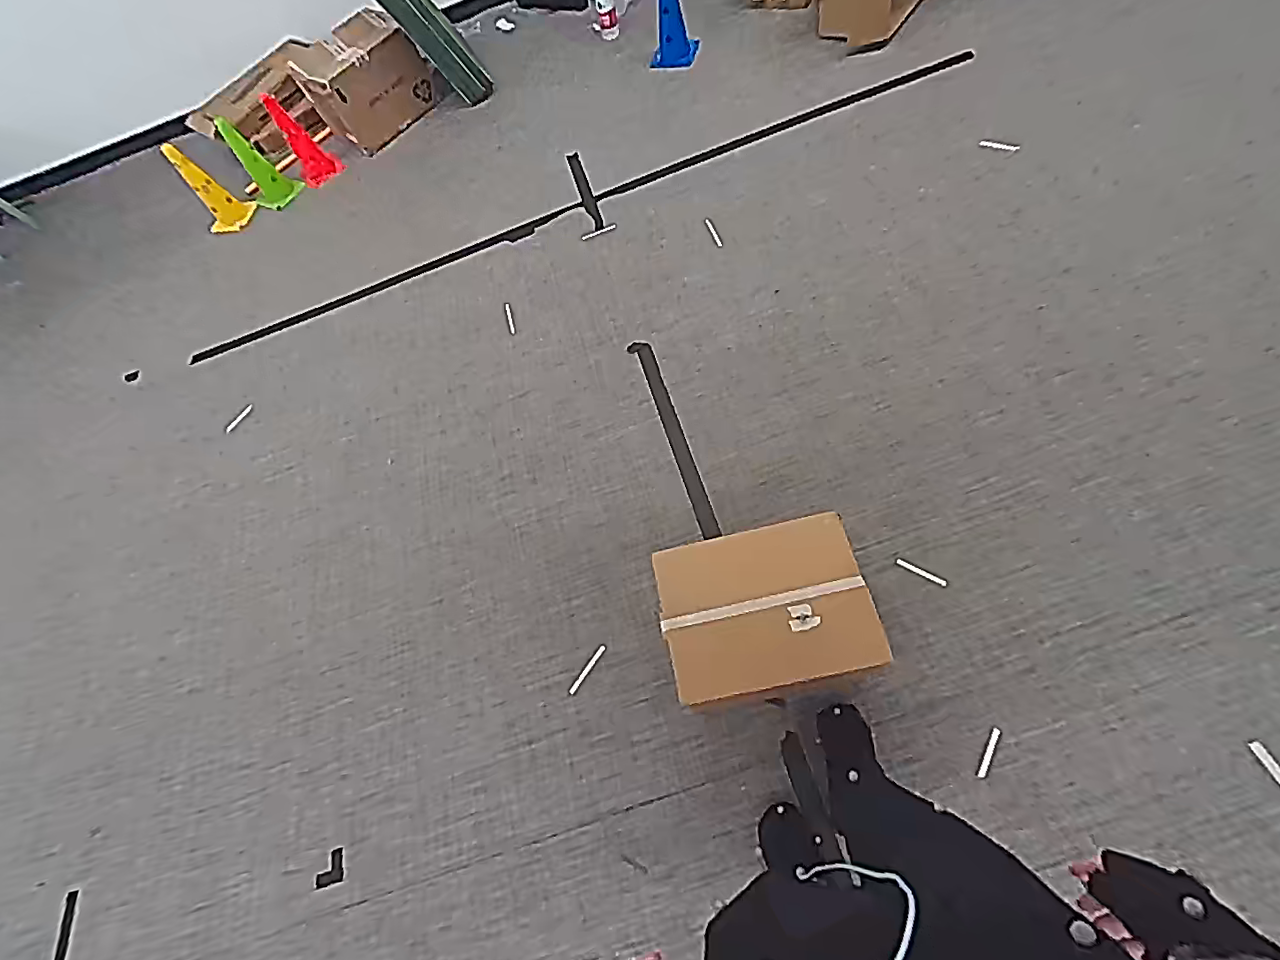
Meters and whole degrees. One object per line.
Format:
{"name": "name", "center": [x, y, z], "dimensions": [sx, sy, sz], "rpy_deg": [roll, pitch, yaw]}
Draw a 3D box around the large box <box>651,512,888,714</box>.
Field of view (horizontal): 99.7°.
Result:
{"name": "large box", "center": [0.265, 0.311, 1.206], "dimensions": [0.408, 0.320, 0.320], "rpy_deg": [-13, 63, 4]}
